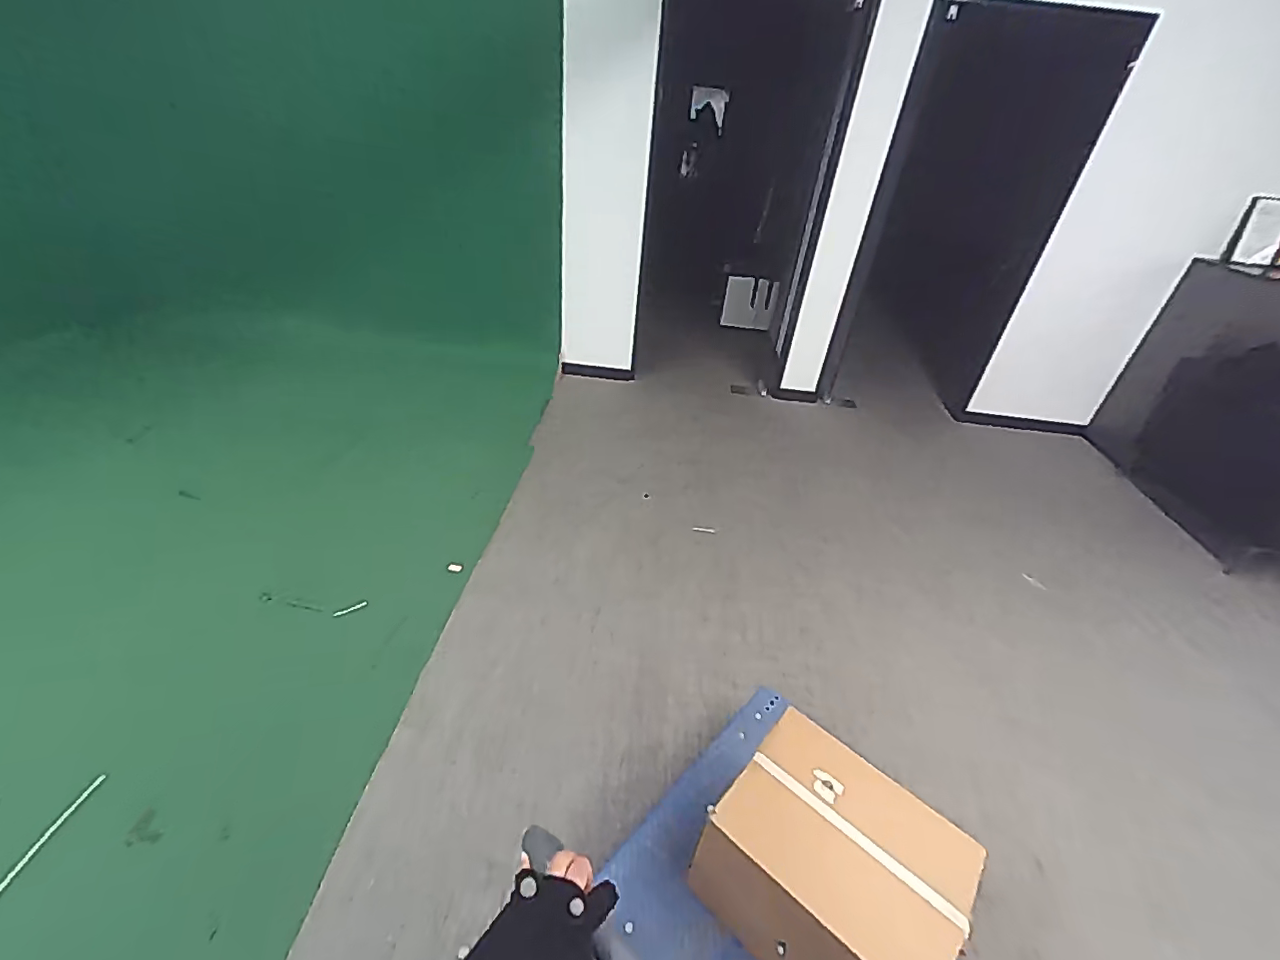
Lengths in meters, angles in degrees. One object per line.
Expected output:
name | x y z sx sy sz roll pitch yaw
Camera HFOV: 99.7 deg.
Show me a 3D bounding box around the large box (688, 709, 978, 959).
large box | 0.354 0.758 1.059 0.408 0.320 0.320 30 41 32
